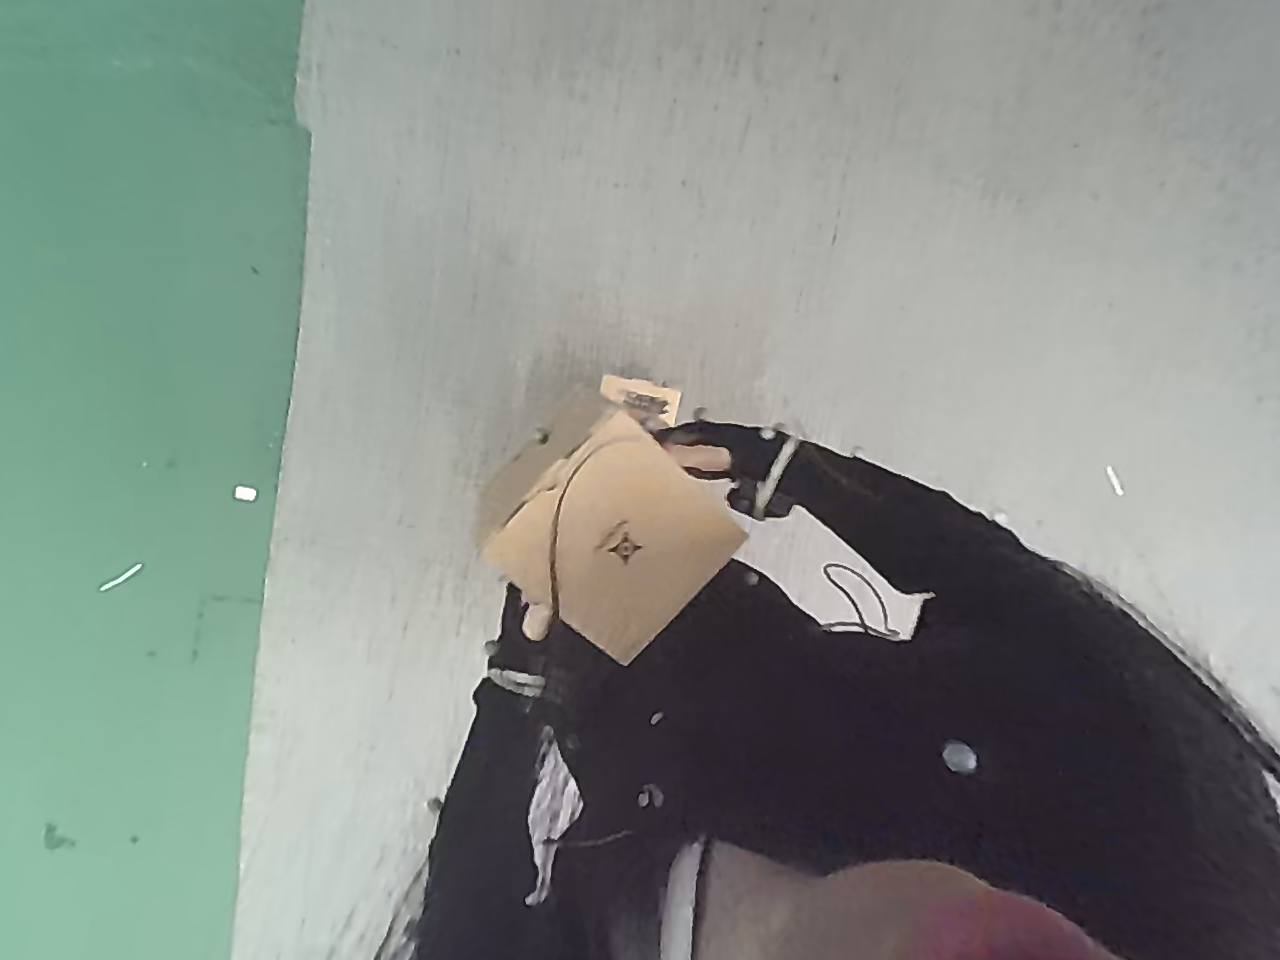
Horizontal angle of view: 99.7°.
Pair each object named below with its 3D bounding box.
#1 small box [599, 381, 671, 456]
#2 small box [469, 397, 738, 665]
[{"bbox_3d":[-0.030,-0.136,1.356,0.168,0.176,0.179,15,94,-6],"label":"small box"},{"bbox_3d":[-0.042,0.036,0.531,0.179,0.176,0.168,42,92,-21],"label":"small box"}]
